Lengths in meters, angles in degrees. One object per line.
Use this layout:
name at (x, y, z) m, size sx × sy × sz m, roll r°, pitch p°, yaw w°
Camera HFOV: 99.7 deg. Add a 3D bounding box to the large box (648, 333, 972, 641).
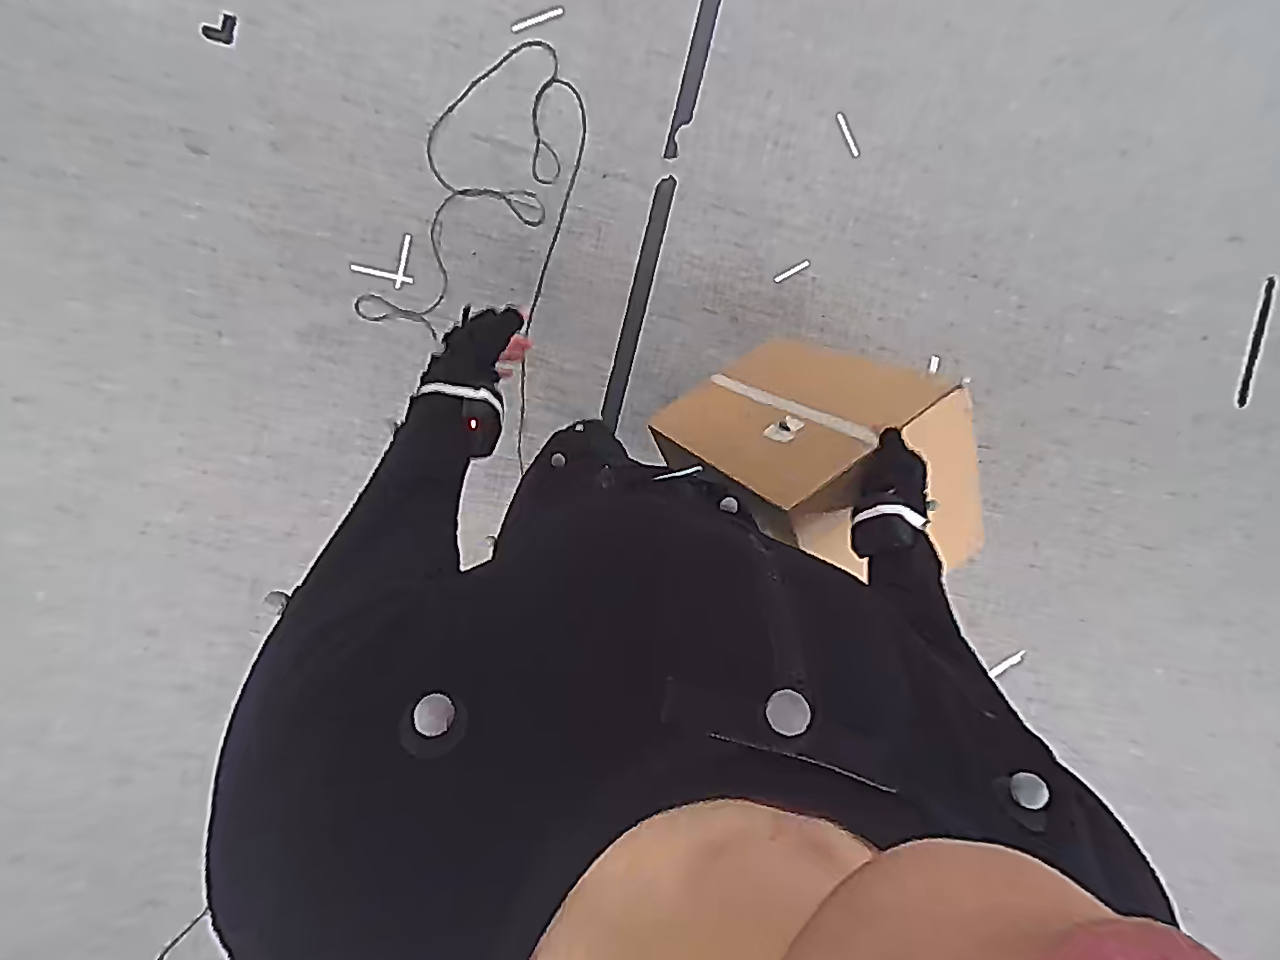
large box at (0.280, -0.014, 0.932) m, size 0.320 × 0.408 × 0.320 m, roll -36°, pitch 125°, yaw -9°
